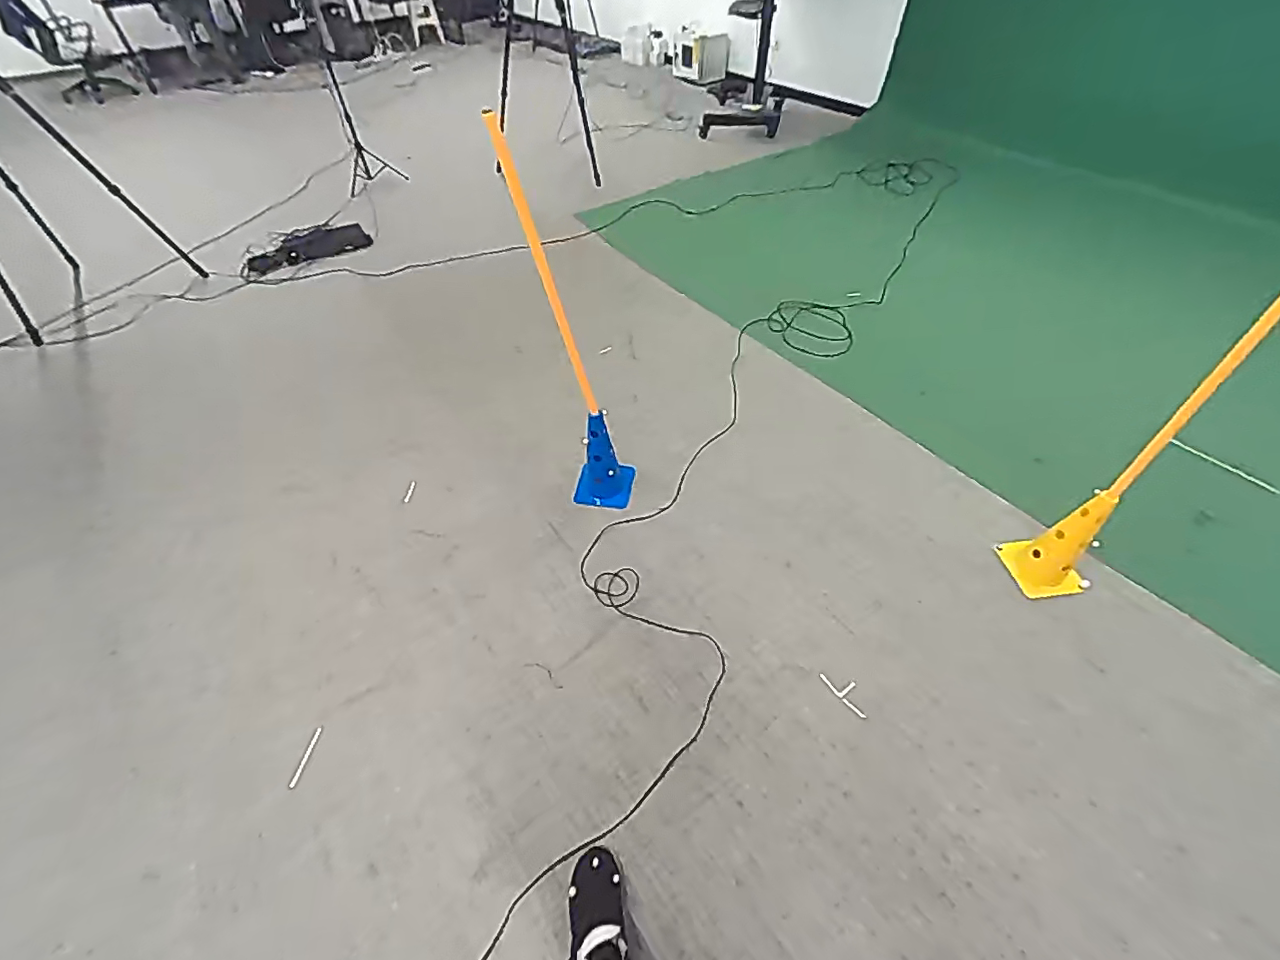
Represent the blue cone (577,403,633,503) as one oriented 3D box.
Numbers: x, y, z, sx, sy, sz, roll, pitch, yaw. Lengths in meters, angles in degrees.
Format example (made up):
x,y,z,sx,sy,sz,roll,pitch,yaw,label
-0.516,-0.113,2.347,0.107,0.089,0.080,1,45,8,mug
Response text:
x,y,z,sx,sy,sz,roll,pitch,yaw,label
-0.135,-0.102,1.833,0.193,0.380,0.192,4,50,7,blue cone
